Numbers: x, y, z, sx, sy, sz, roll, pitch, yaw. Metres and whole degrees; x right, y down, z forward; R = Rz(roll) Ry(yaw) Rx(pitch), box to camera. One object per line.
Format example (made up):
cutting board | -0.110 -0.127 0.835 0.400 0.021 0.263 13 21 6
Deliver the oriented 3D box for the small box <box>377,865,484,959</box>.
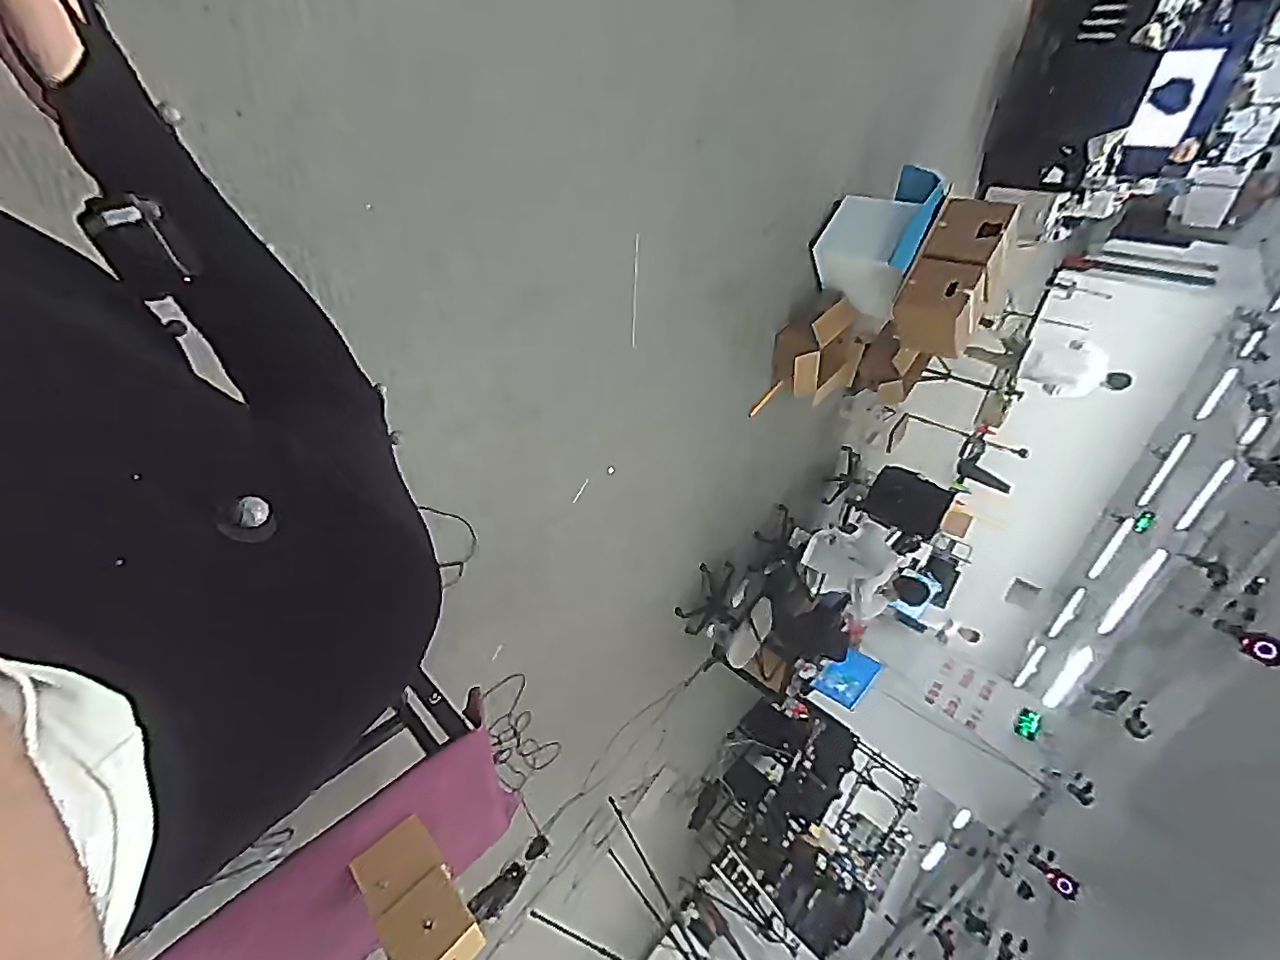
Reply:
small box | -0.506 1.088 1.298 0.179 0.176 0.168 -32 137 -37
